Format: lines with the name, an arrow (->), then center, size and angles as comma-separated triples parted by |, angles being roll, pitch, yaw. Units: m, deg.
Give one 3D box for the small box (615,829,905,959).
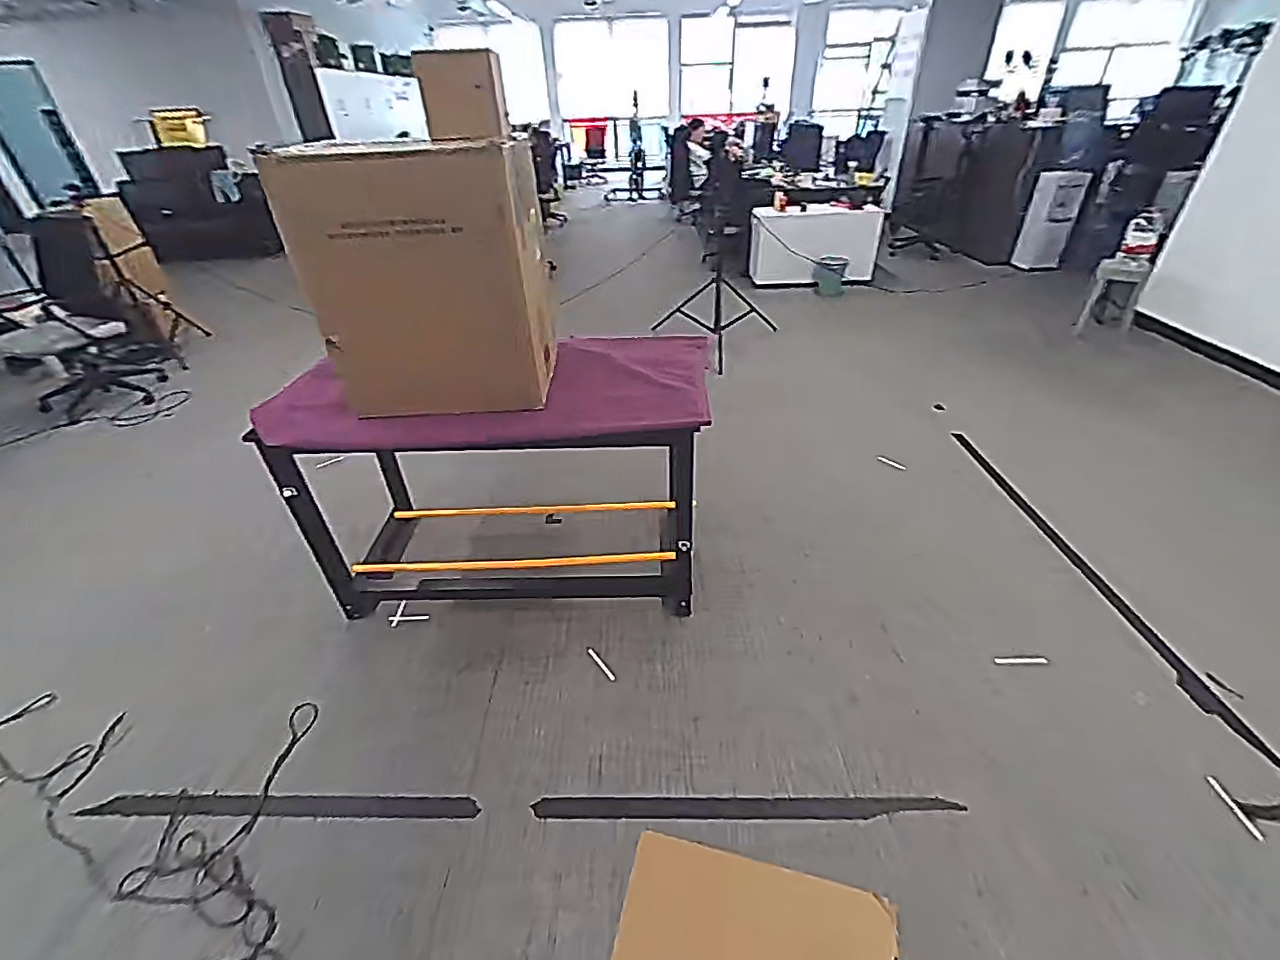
small box -> 0.072, 0.376, 0.363 | 0.179, 0.176, 0.168 | 7, 39, 14
